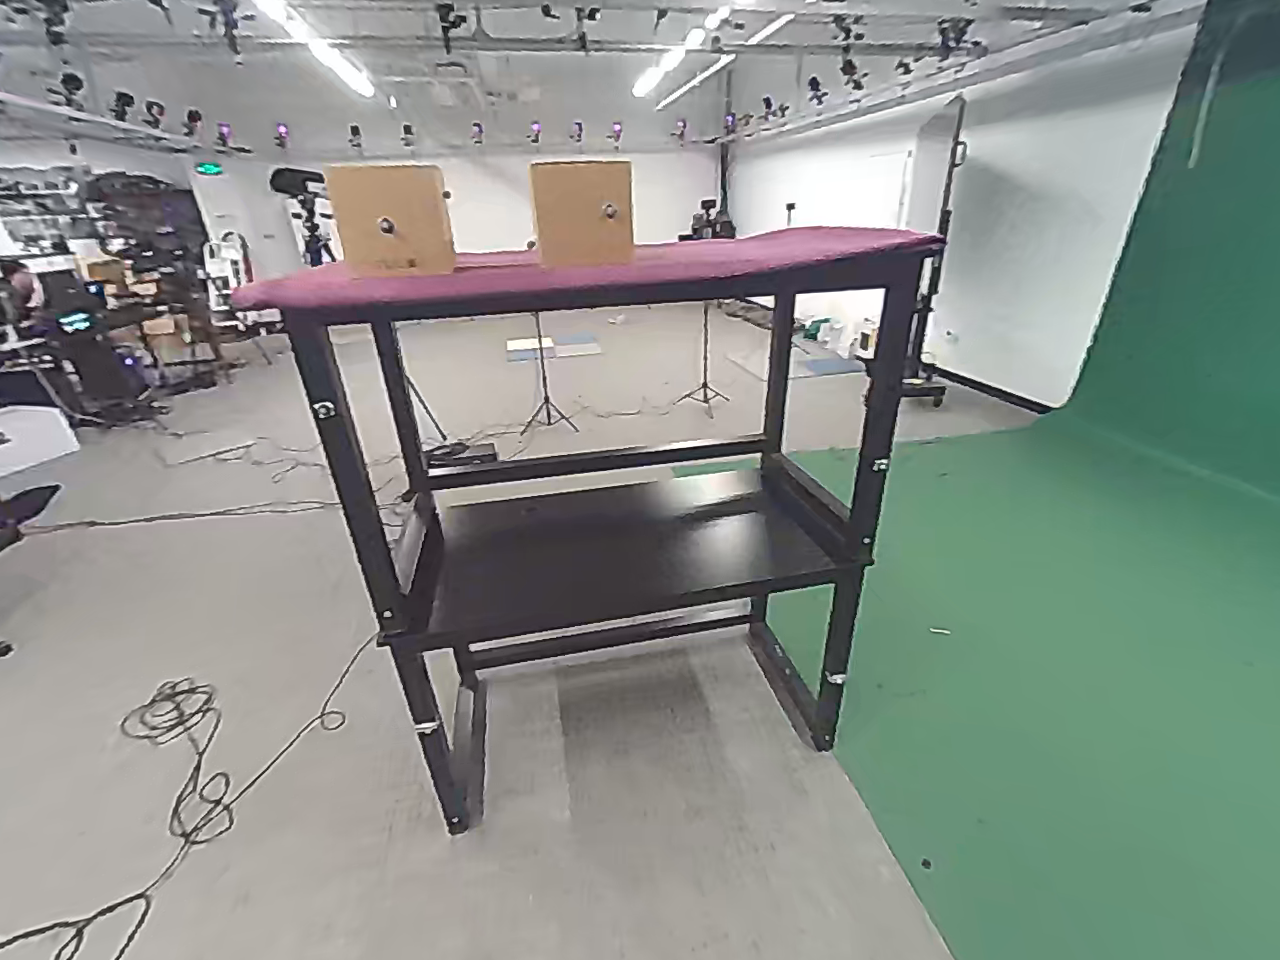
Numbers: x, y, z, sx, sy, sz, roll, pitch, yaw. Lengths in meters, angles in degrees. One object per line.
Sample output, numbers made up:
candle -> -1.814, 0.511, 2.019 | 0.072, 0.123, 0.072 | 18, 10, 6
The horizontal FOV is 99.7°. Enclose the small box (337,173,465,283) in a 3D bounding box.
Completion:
small box -> -0.413, -0.448, 0.970 | 0.168, 0.176, 0.179 | -6, 26, -11

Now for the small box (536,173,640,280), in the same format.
small box -> -0.100, -0.484, 1.033 | 0.179, 0.176, 0.168 | -8, 26, -10
